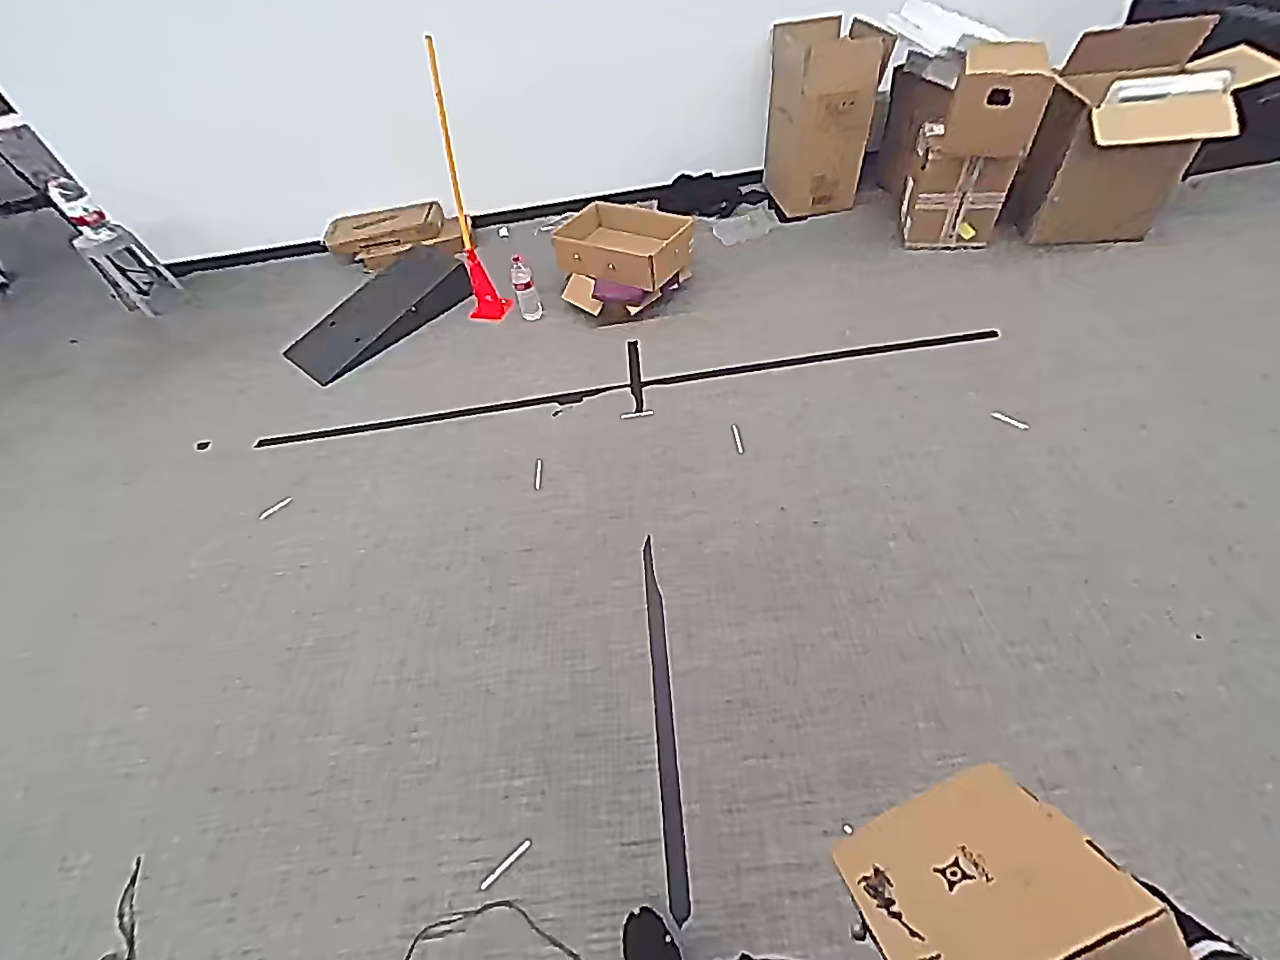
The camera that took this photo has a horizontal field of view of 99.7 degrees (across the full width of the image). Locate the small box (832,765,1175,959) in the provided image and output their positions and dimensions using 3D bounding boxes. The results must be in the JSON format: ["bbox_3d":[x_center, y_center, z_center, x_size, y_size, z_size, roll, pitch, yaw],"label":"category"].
[{"bbox_3d":[0.297,0.386,0.442,0.179,0.168,0.176,-26,94,-1],"label":"small box"}]
